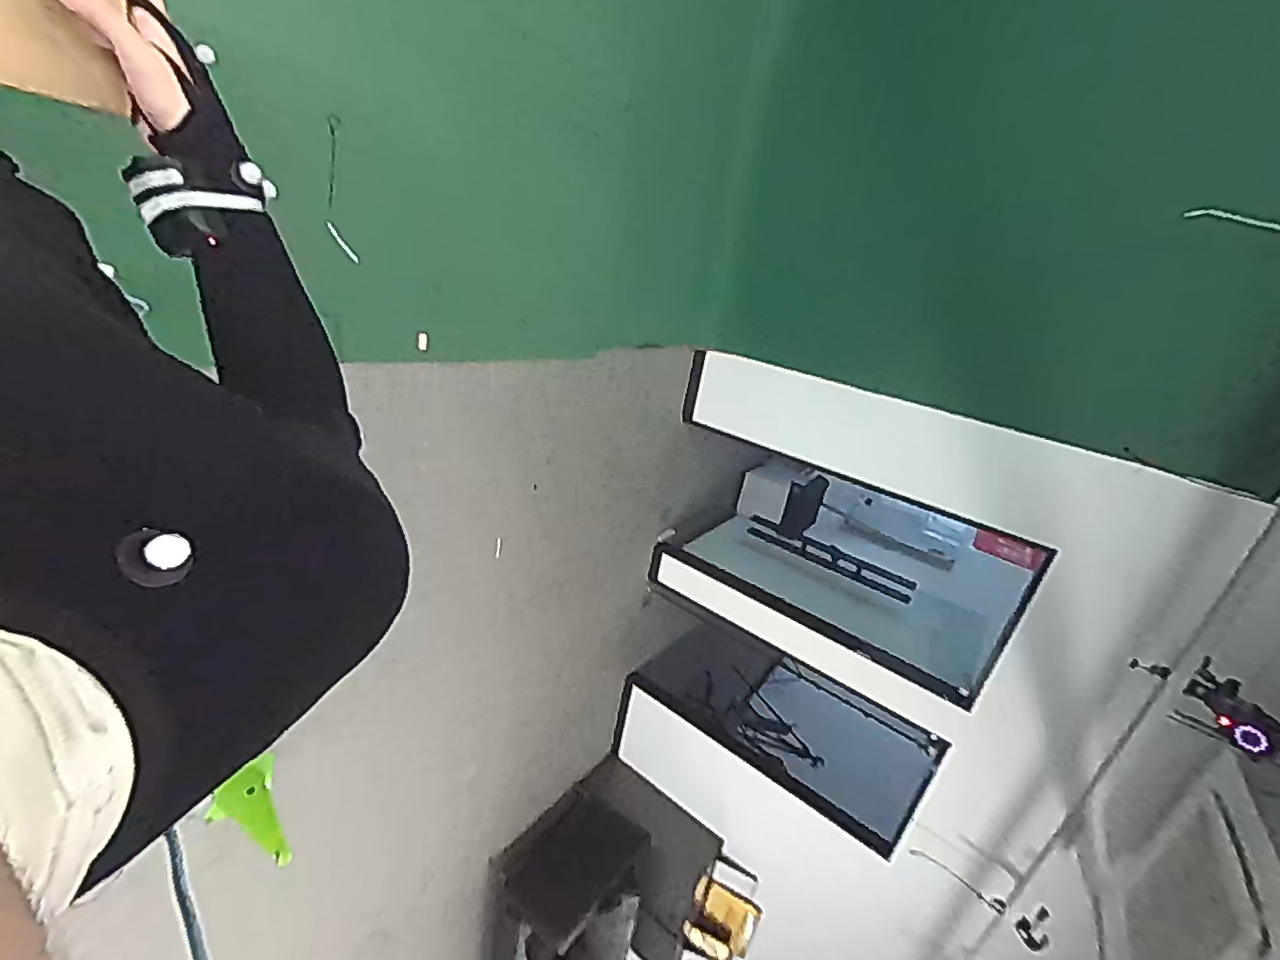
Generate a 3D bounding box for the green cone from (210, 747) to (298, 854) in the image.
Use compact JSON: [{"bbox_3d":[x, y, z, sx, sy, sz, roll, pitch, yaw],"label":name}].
[{"bbox_3d":[-1.252,1.115,1.813,0.200,0.368,0.202,-12,120,-55],"label":"green cone"}]
